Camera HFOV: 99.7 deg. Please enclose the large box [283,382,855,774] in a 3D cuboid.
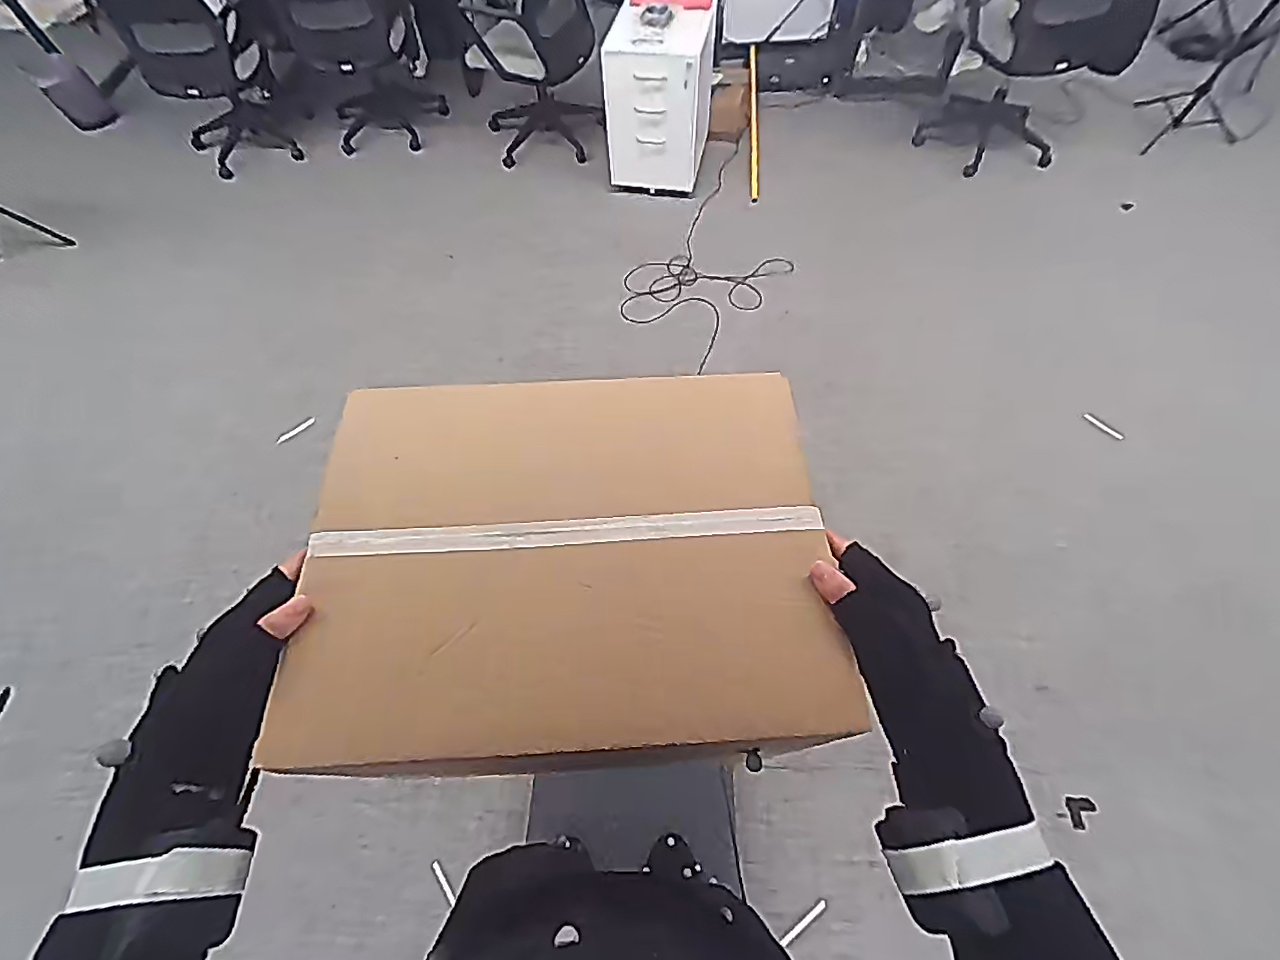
[{"bbox_3d":[-0.054,0.122,0.572,0.408,0.320,0.320,-3,60,-1],"label":"large box"}]
